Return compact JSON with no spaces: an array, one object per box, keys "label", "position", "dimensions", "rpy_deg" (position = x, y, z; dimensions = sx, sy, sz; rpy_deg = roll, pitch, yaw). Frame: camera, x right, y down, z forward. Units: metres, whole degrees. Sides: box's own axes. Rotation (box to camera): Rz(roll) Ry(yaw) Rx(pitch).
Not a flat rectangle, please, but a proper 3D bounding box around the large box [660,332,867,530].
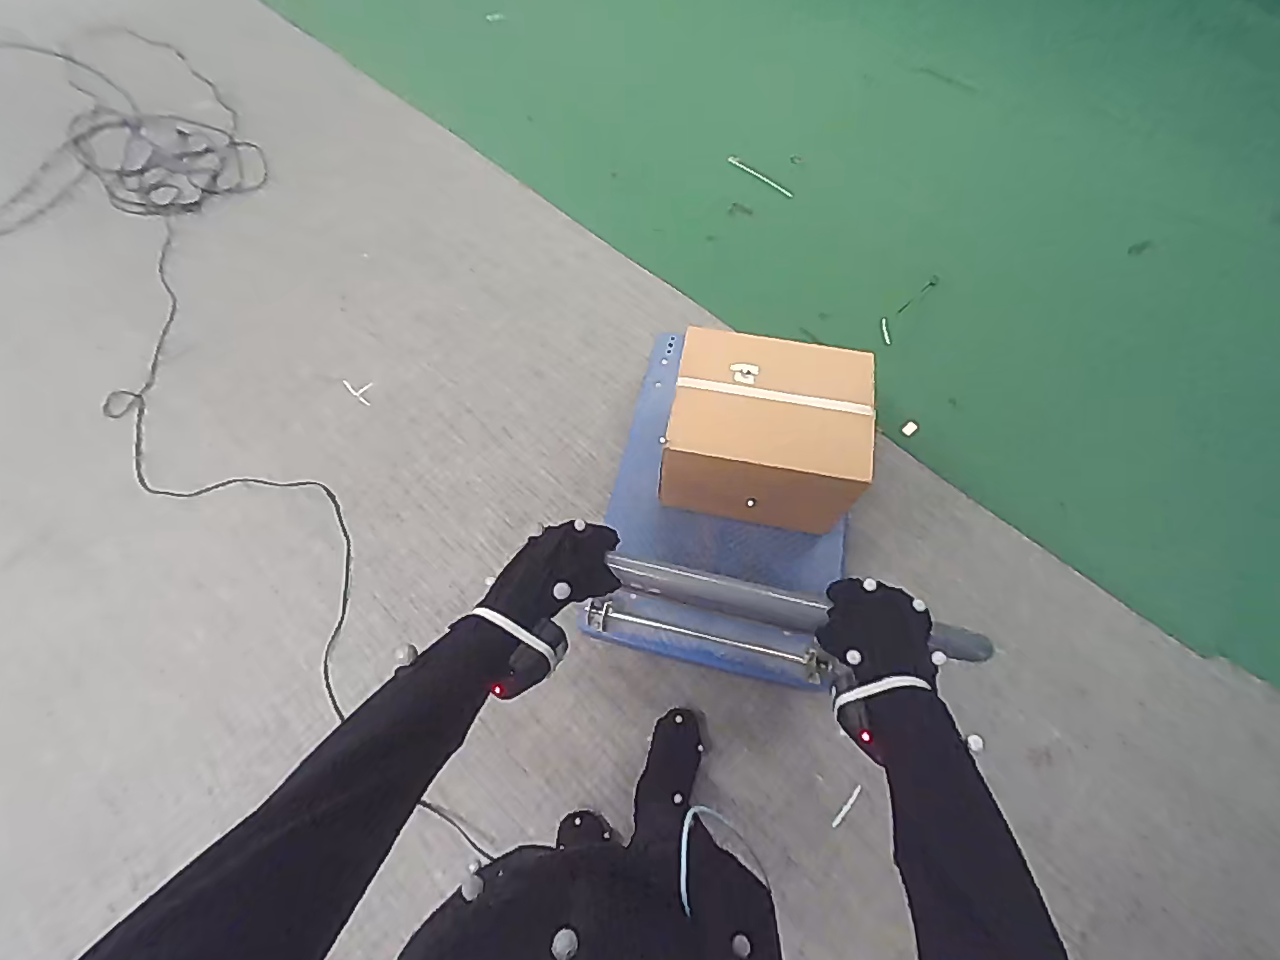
[{"label":"large box","position":[0.268,-0.099,1.248],"dimensions":[0.408,0.320,0.320],"rpy_deg":[9,65,5]}]
